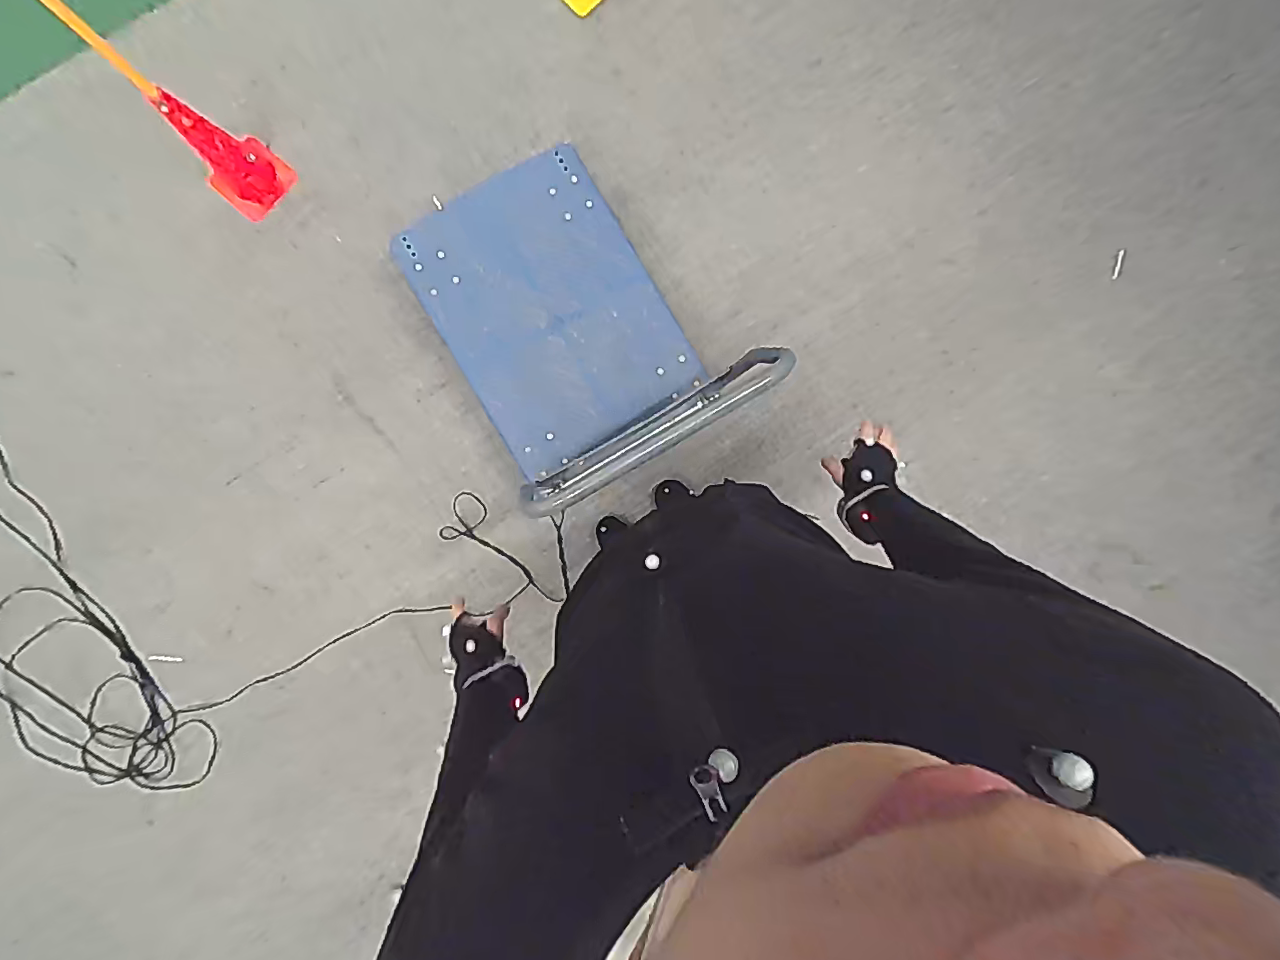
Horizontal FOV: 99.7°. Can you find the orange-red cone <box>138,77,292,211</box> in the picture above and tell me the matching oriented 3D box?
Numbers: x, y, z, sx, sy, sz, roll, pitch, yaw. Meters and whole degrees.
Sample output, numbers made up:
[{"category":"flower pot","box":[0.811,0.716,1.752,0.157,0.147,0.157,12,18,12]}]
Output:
[{"category":"orange-red cone","box":[-1.164,-0.926,1.443,0.198,0.360,0.199,42,89,0]}]
